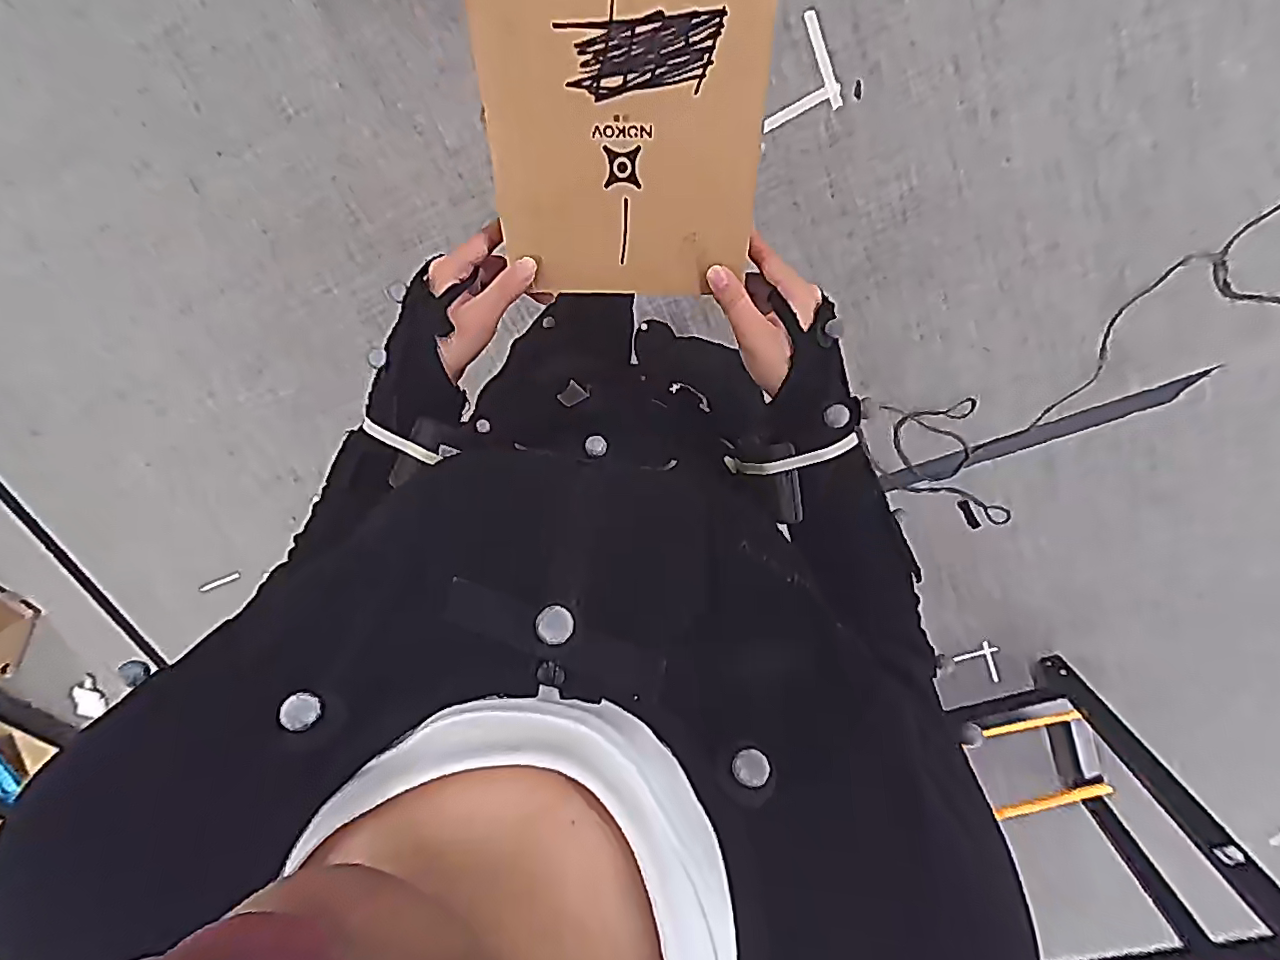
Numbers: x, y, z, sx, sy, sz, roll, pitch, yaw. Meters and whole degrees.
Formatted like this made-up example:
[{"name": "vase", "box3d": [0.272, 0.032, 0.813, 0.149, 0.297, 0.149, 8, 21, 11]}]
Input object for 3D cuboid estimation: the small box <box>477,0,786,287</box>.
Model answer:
[{"name": "small box", "box3d": [-0.004, -0.253, 0.383, 0.168, 0.176, 0.179, 2, 129, 1]}]
